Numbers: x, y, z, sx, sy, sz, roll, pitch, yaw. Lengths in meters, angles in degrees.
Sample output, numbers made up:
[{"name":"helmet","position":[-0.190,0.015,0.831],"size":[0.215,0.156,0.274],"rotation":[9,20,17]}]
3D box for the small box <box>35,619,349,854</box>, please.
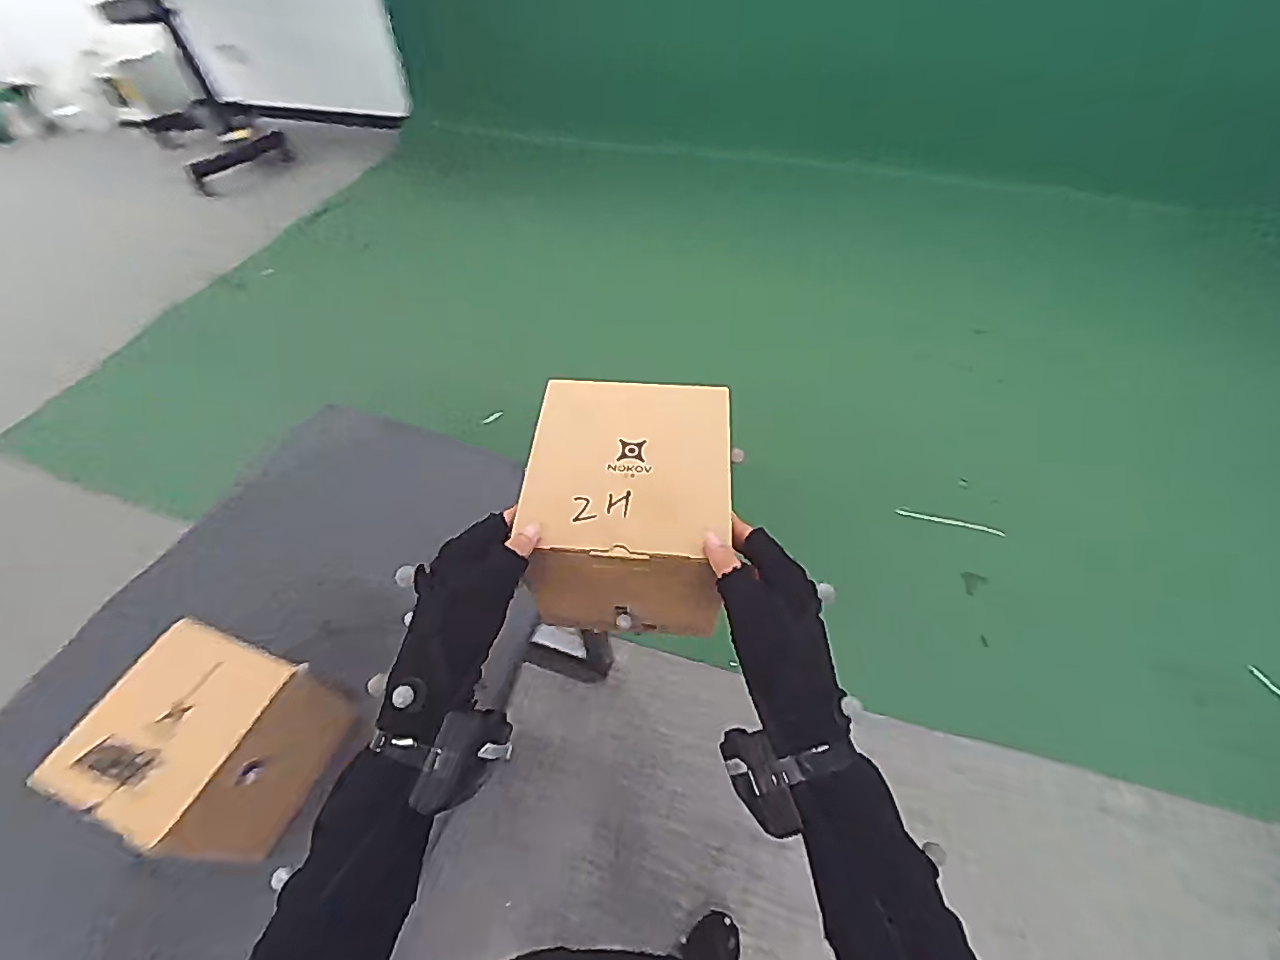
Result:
[{"name":"small box","position":[-0.473,0.291,0.609],"size":[0.168,0.176,0.179],"rotation":[16,54,14]}]
